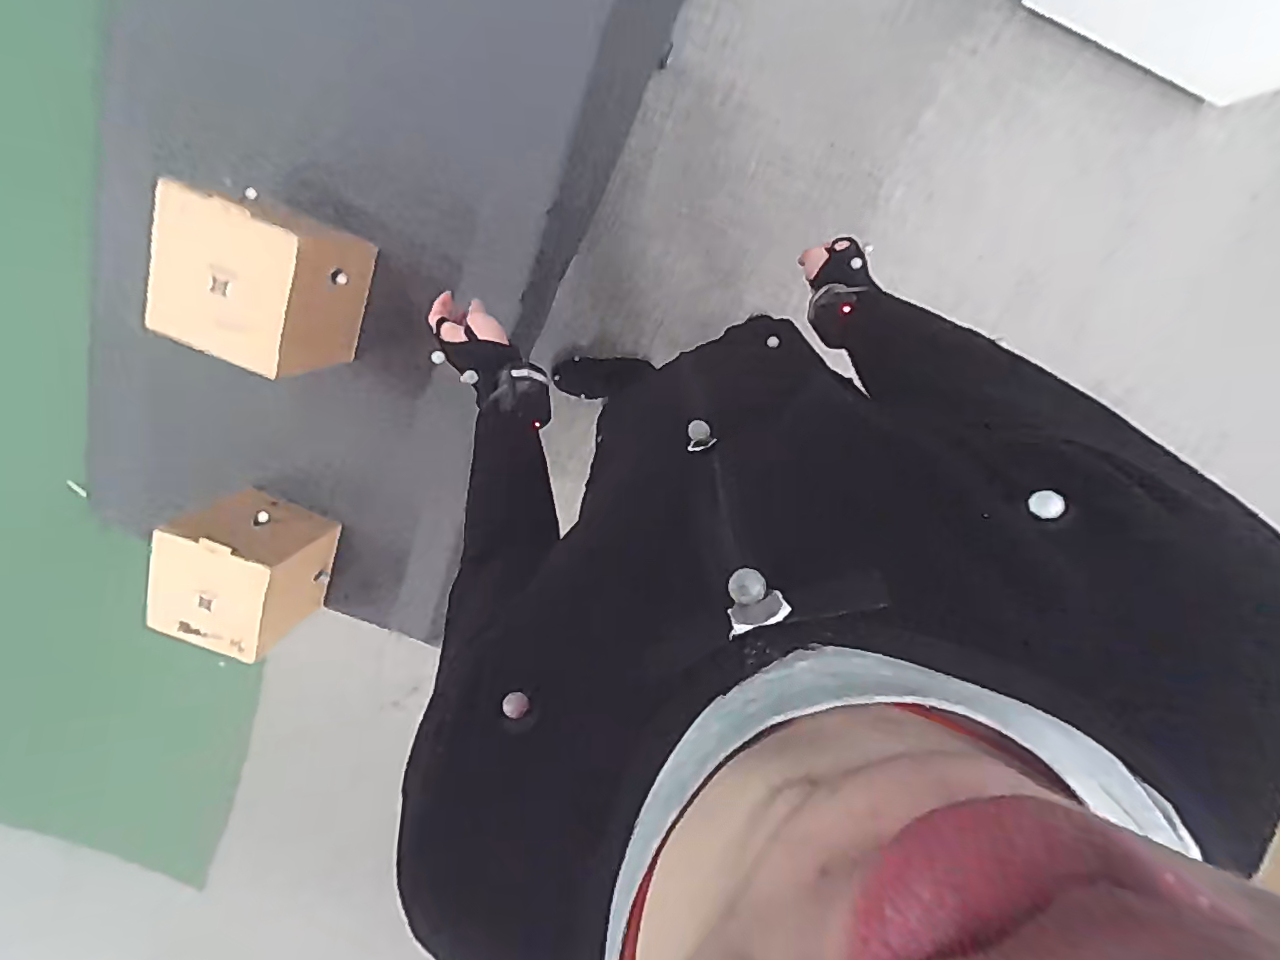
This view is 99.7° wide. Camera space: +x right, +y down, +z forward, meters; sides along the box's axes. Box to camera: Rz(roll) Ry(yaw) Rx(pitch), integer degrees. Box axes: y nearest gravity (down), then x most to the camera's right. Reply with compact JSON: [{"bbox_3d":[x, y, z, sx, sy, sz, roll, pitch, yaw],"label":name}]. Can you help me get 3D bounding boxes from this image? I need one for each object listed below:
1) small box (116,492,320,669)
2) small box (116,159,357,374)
[{"bbox_3d":[-0.615,0.139,0.807,0.168,0.176,0.179,22,108,-5],"label":"small box"},{"bbox_3d":[-0.480,-0.254,0.665,0.168,0.176,0.179,23,110,-4],"label":"small box"}]
